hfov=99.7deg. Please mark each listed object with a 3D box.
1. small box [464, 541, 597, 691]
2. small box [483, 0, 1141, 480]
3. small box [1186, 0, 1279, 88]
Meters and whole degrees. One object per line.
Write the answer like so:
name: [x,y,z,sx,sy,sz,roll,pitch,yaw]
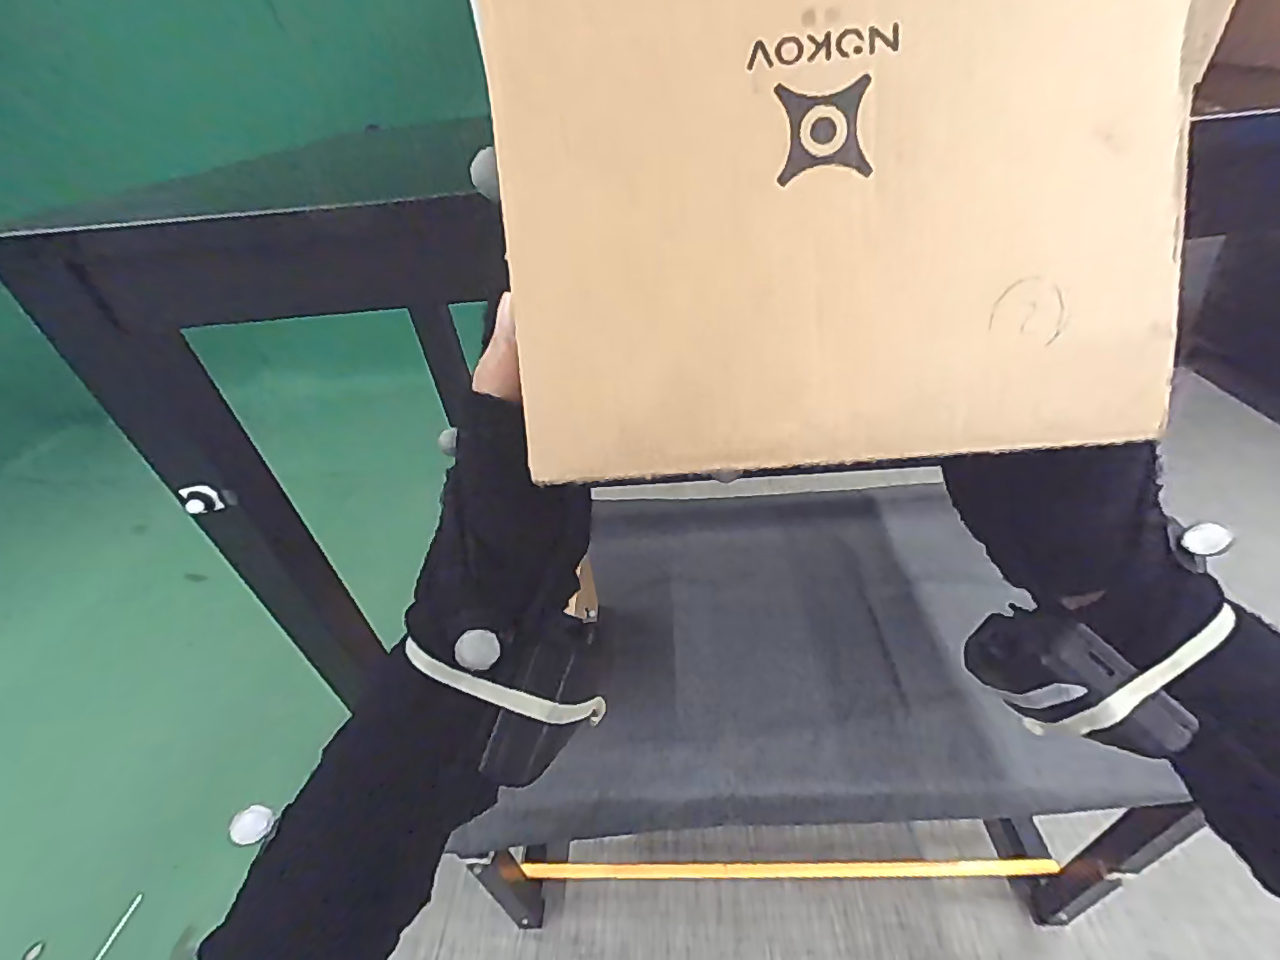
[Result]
small box: [-0.166,0.222,0.889,0.168,0.176,0.179,-3,38,4]
small box: [0.048,-0.103,0.223,0.168,0.179,0.176,-4,8,4]
small box: [0.520,-0.358,0.339,0.168,0.176,0.179,4,38,13]
